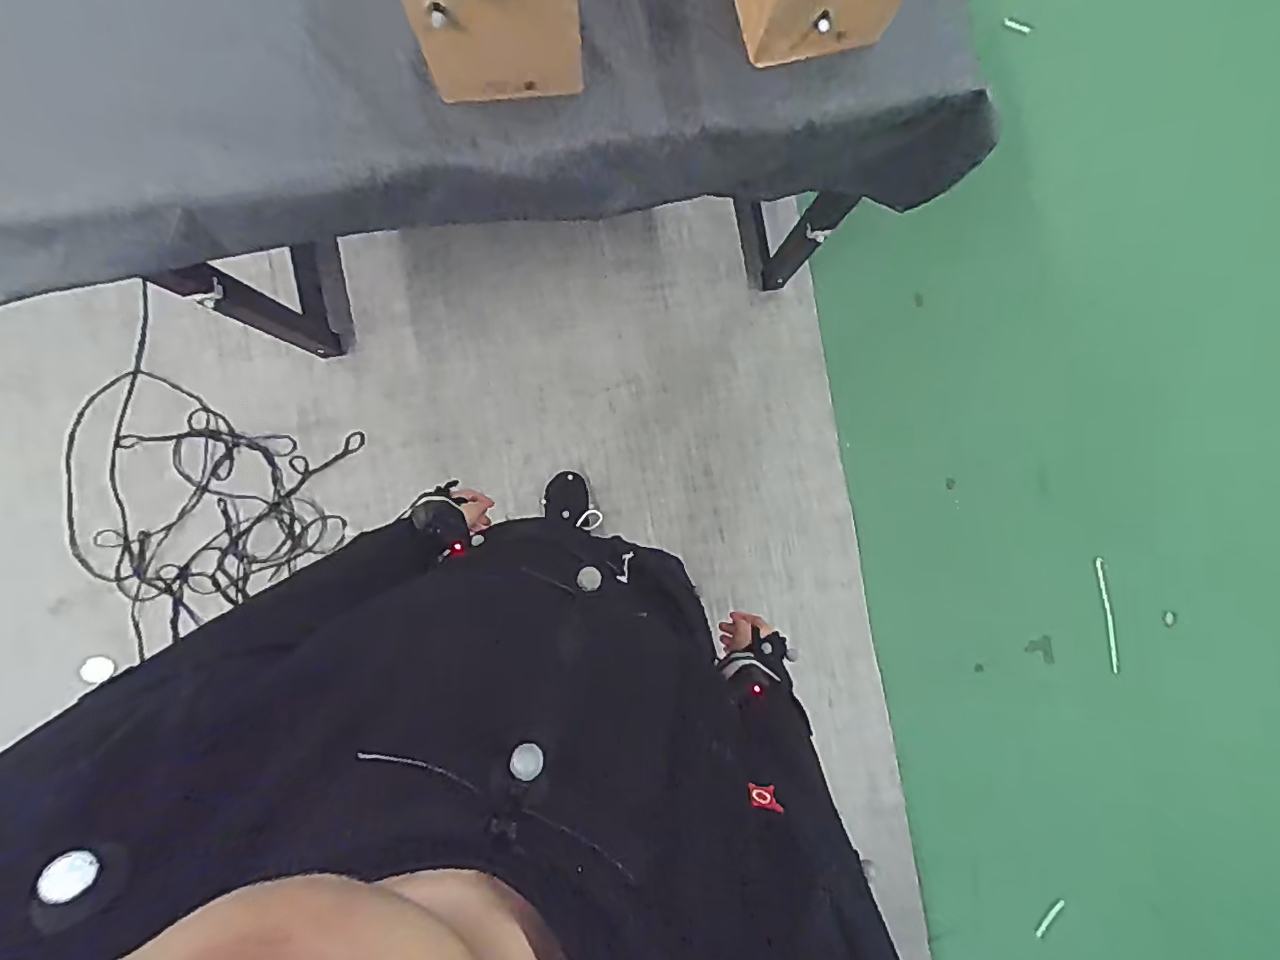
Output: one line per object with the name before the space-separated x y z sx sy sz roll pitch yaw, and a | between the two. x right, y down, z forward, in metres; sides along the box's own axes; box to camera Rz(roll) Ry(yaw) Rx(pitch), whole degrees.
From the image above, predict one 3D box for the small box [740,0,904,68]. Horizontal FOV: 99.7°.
small box | 0.204 -0.608 0.590 0.168 0.176 0.179 -15 90 -4
